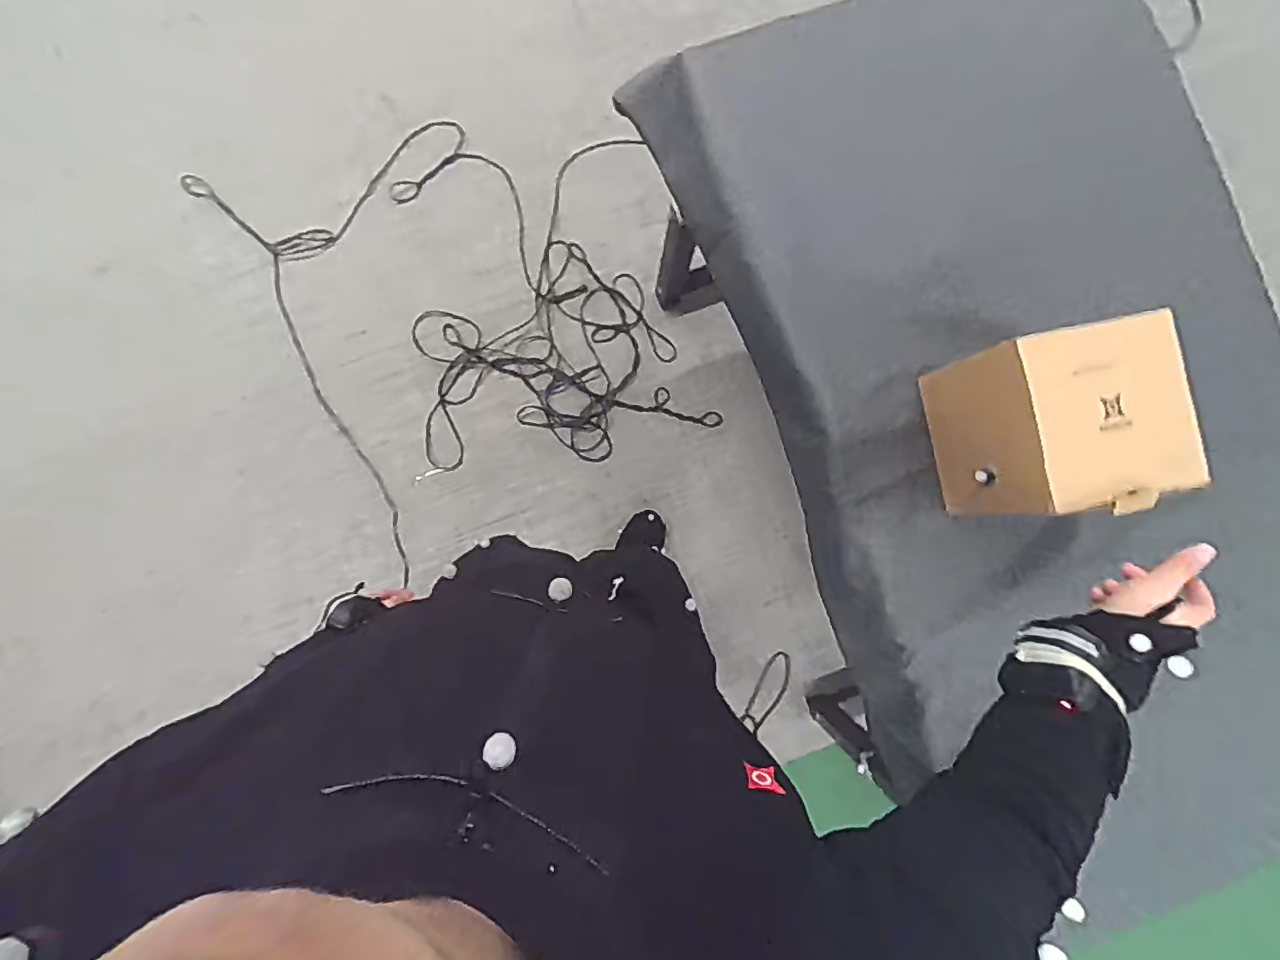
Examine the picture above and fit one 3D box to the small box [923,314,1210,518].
[{"bbox_3d":[0.450,-0.060,0.600,0.168,0.176,0.179,-12,87,-5],"label":"small box"}]
